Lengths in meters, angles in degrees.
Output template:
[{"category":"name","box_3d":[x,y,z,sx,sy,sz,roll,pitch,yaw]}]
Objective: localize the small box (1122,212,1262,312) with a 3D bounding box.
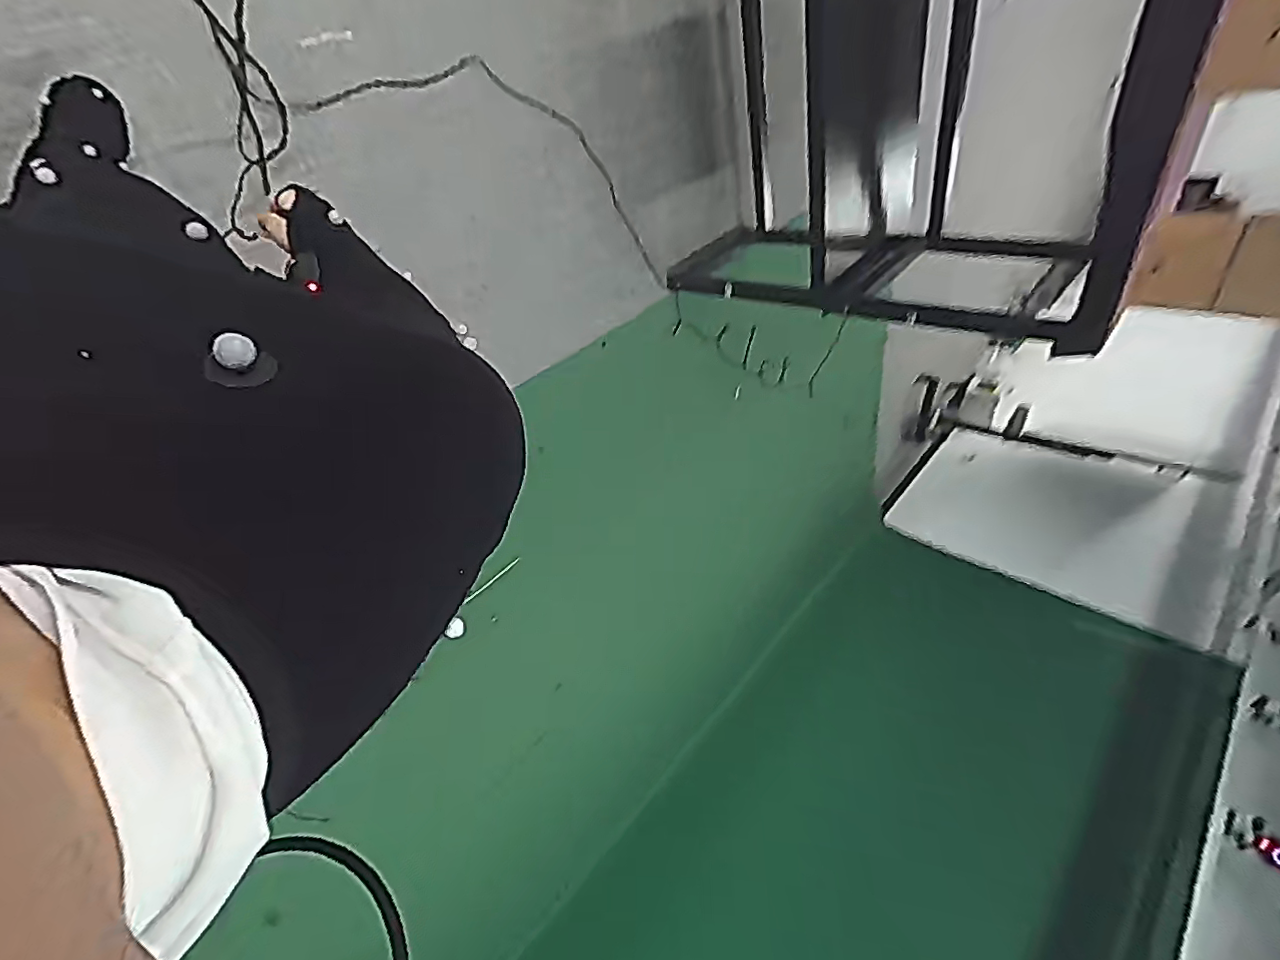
[{"category":"small box","box_3d":[1.273,-0.513,1.256,0.179,0.176,0.168,-39,133,-26]}]

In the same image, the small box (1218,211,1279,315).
[{"category":"small box","box_3d":[1.380,-0.459,1.142,0.168,0.176,0.179,-39,133,-26]}]

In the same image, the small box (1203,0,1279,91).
[{"category":"small box","box_3d":[1.171,-0.830,0.983,0.168,0.176,0.179,-40,133,-28]}]
